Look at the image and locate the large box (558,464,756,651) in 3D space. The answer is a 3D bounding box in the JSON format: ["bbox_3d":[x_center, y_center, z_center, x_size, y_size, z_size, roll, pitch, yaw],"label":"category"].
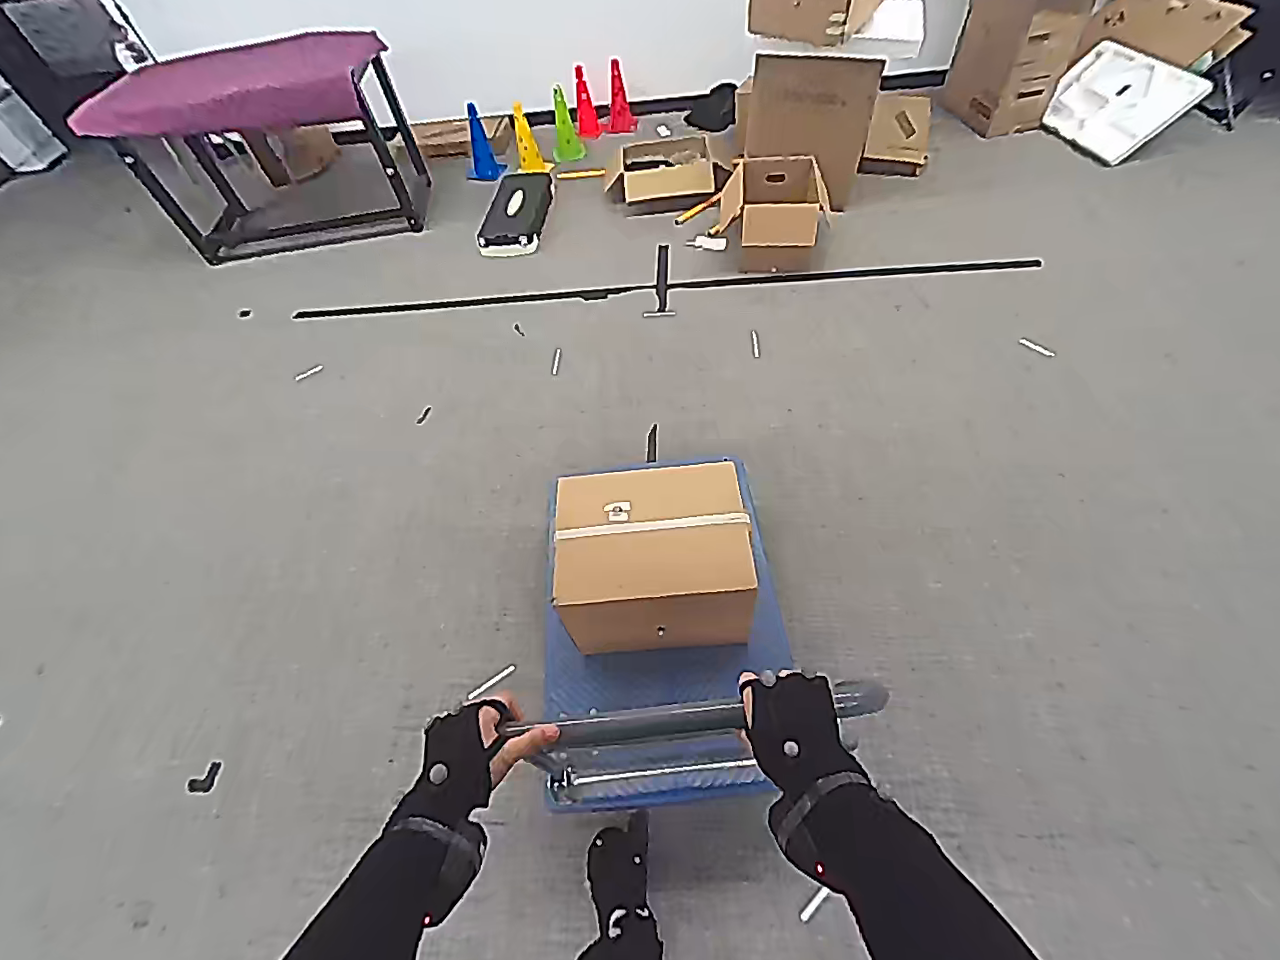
[{"bbox_3d":[0.040,0.193,1.276,0.408,0.320,0.320,-6,53,3],"label":"large box"}]
